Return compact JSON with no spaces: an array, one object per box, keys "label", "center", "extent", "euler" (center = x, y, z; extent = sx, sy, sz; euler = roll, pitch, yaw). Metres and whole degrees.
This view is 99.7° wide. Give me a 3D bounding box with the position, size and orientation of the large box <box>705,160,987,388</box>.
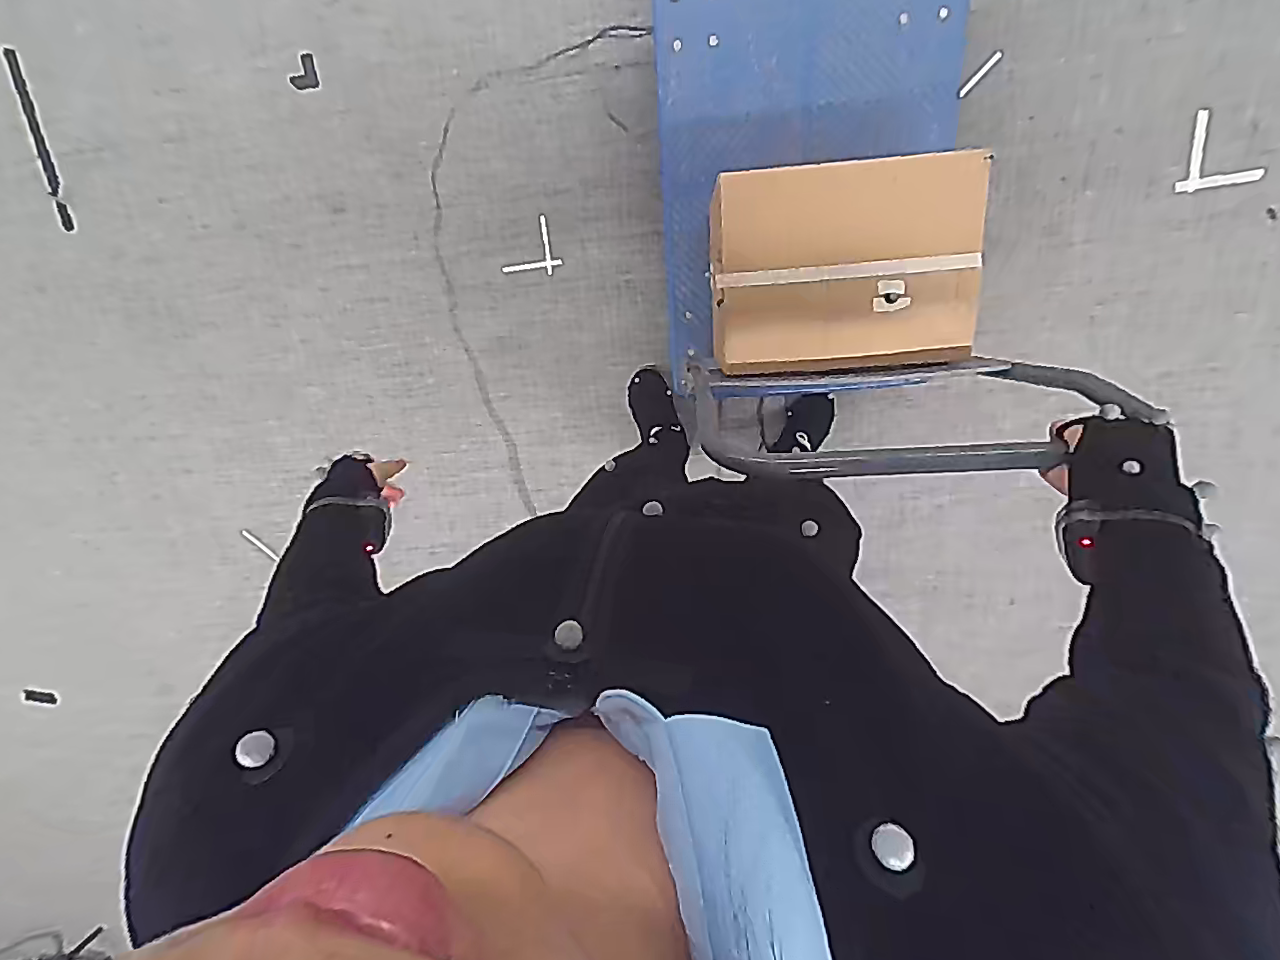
[{"label":"large box","center":[0.337,-0.357,1.000],"extent":[0.408,0.320,0.320],"euler":[-3,107,4]}]
